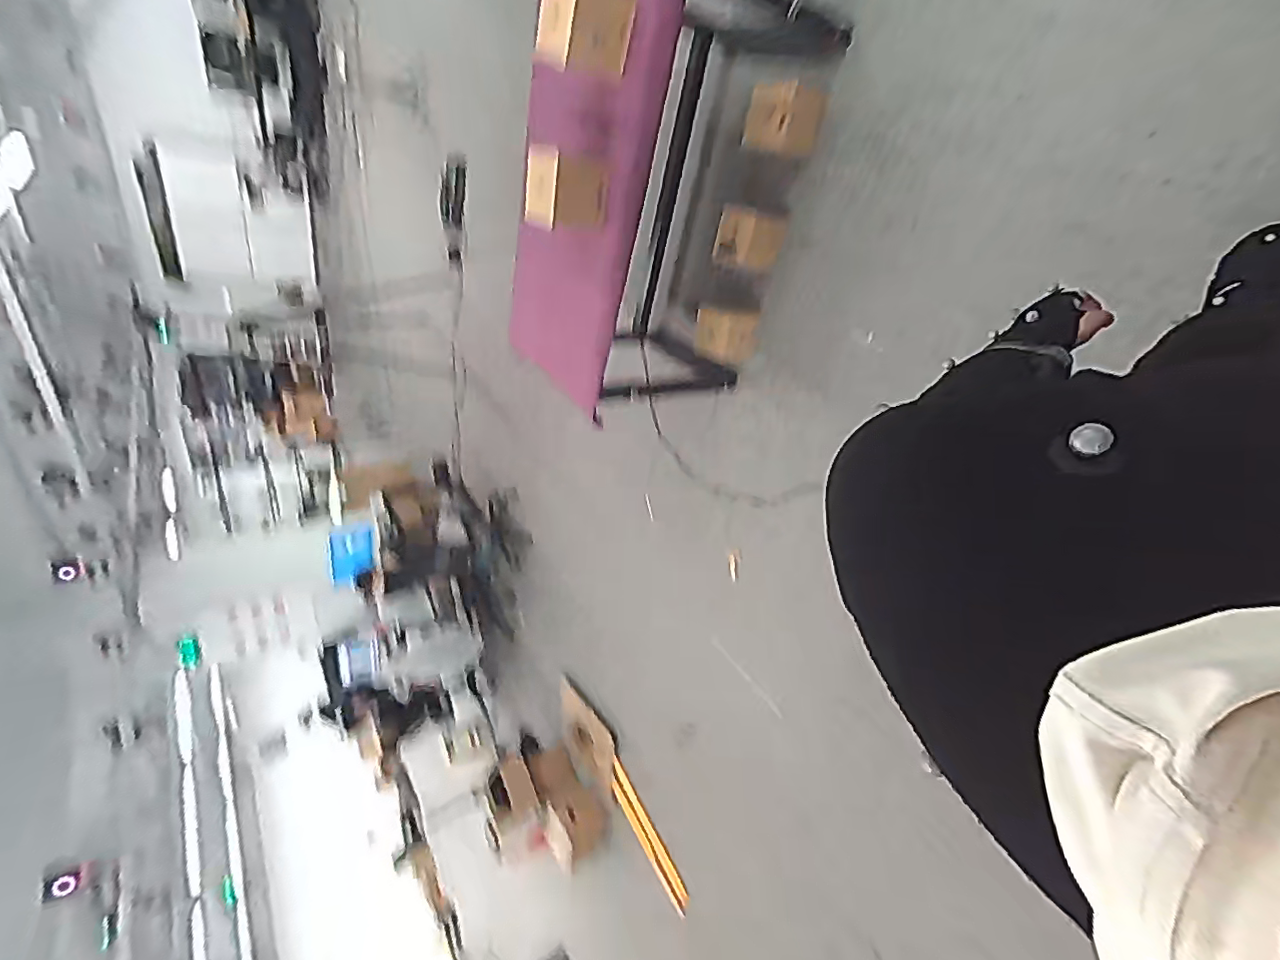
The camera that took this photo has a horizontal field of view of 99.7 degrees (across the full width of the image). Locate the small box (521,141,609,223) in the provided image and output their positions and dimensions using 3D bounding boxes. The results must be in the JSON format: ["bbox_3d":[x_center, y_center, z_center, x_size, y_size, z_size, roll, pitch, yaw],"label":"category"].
[{"bbox_3d":[-0.210,-0.817,1.490,0.179,0.176,0.168,40,130,41],"label":"small box"}]

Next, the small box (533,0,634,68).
[{"bbox_3d":[-0.135,-1.125,1.306,0.179,0.176,0.168,51,137,34],"label":"small box"}]

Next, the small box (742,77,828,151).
[{"bbox_3d":[0.461,-1.163,1.725,0.179,0.176,0.168,38,128,42],"label":"small box"}]

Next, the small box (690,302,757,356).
[{"bbox_3d":[0.321,-0.581,2.073,0.179,0.176,0.168,36,126,43],"label":"small box"}]
